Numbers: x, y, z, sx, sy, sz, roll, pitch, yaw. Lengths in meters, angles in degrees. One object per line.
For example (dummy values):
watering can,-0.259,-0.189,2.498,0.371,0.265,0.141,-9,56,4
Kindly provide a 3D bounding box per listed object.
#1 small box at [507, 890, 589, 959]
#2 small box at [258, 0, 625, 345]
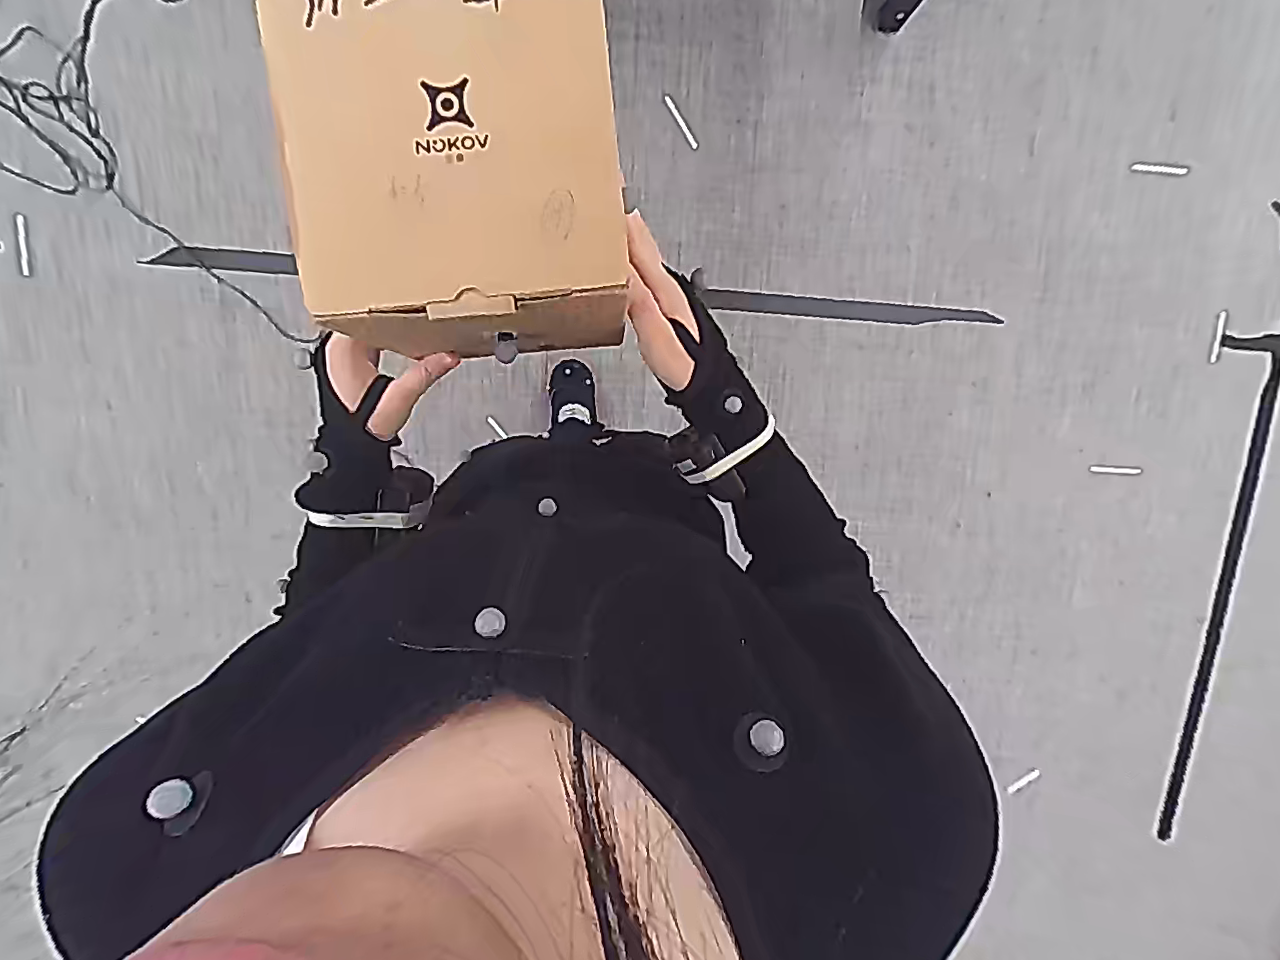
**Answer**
small box,-0.212,1.112,1.277,0.179,0.176,0.168,2,98,-2
small box,-0.098,-0.185,0.344,0.168,0.176,0.179,-6,96,-3
